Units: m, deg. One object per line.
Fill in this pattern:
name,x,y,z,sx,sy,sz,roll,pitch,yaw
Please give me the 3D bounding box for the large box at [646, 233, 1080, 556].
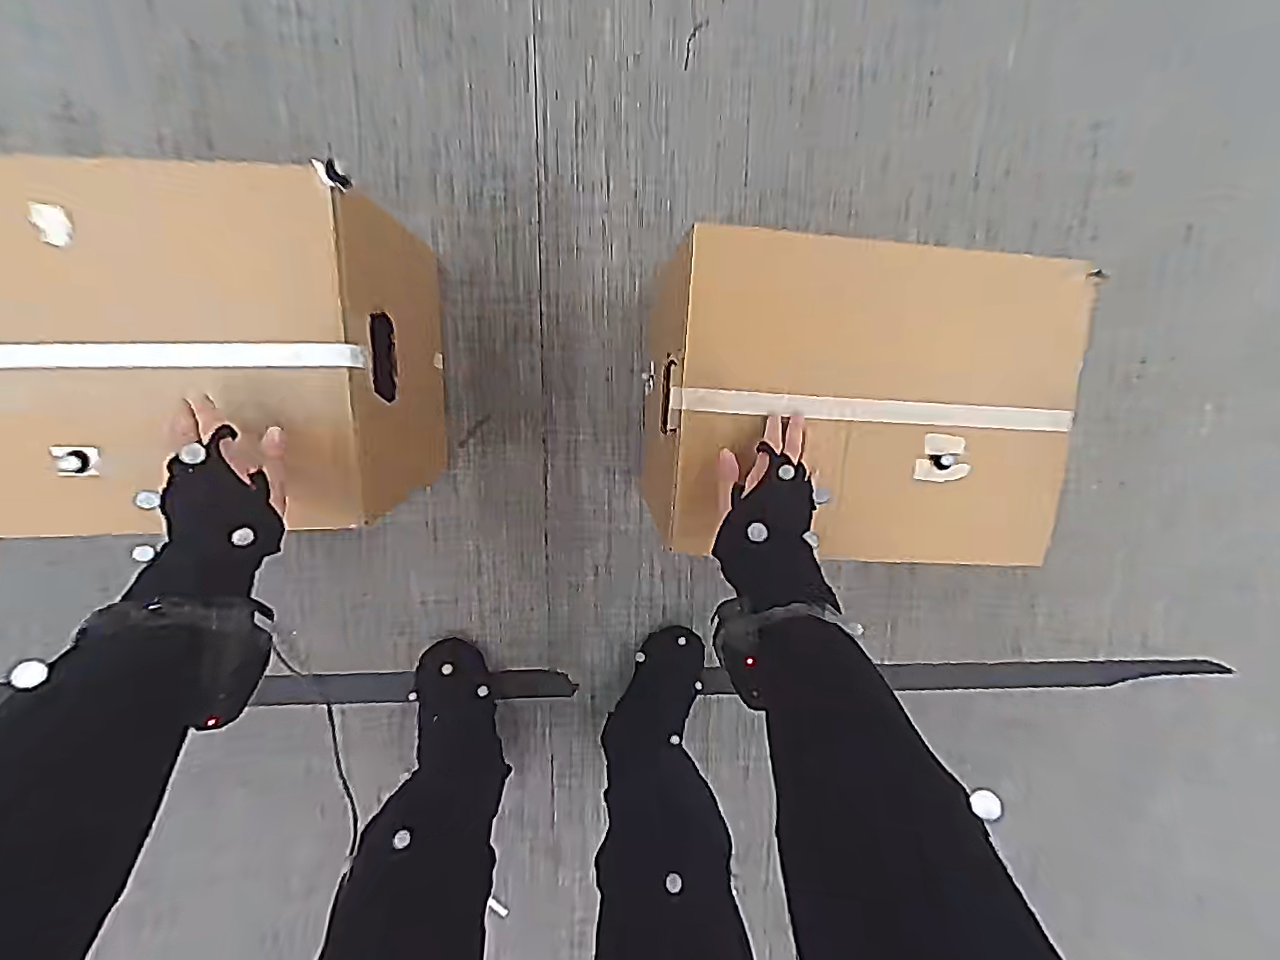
large box,0.226,-0.096,0.693,0.408,0.320,0.320,3,100,-7
